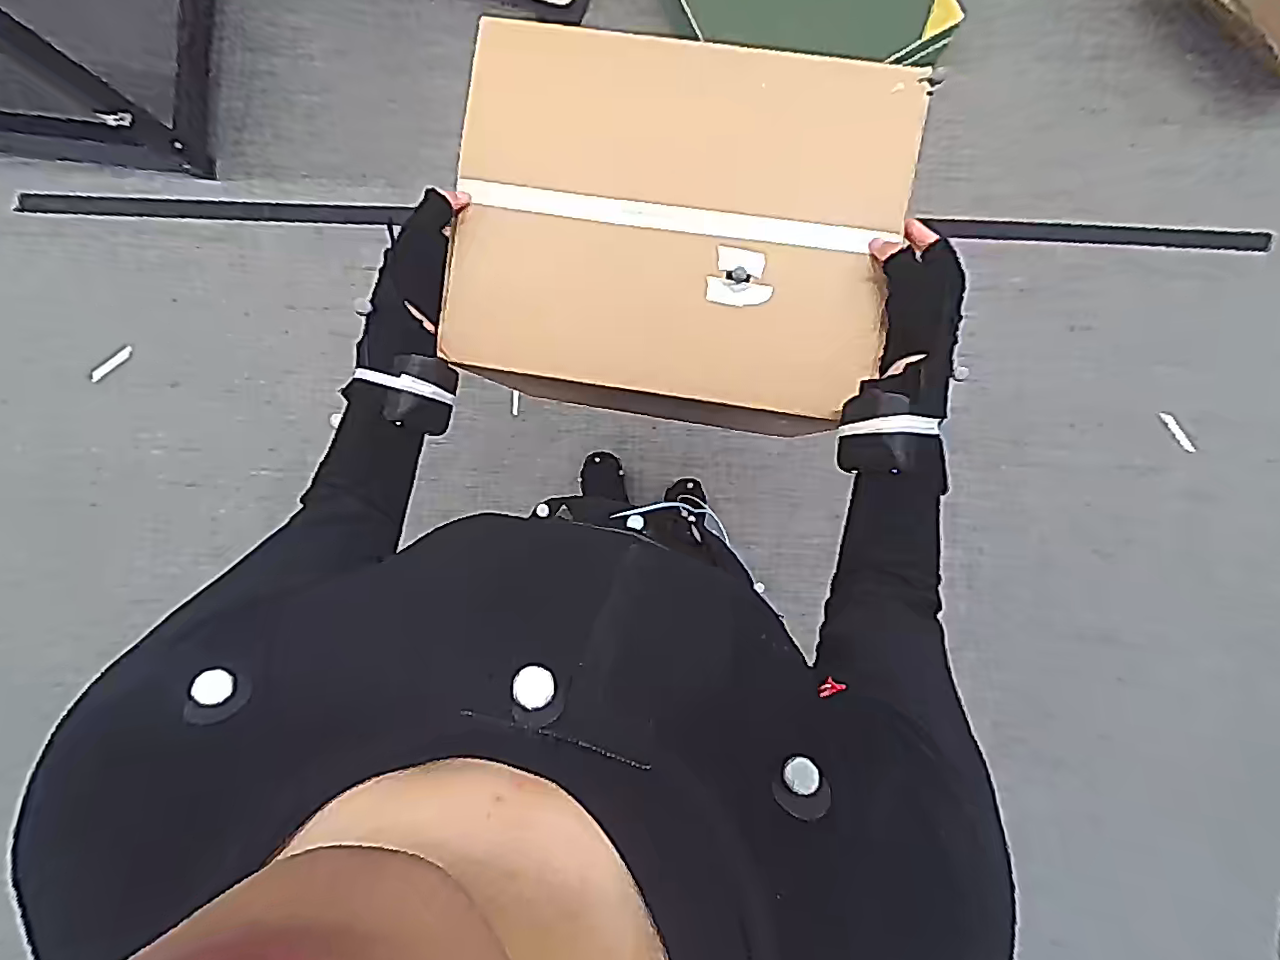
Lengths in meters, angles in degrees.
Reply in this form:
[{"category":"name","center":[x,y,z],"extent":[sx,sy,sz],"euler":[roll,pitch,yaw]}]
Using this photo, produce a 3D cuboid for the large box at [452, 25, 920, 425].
[{"category":"large box","center":[0.041,-0.251,0.649],"extent":[0.408,0.320,0.320],"euler":[9,94,2]}]
